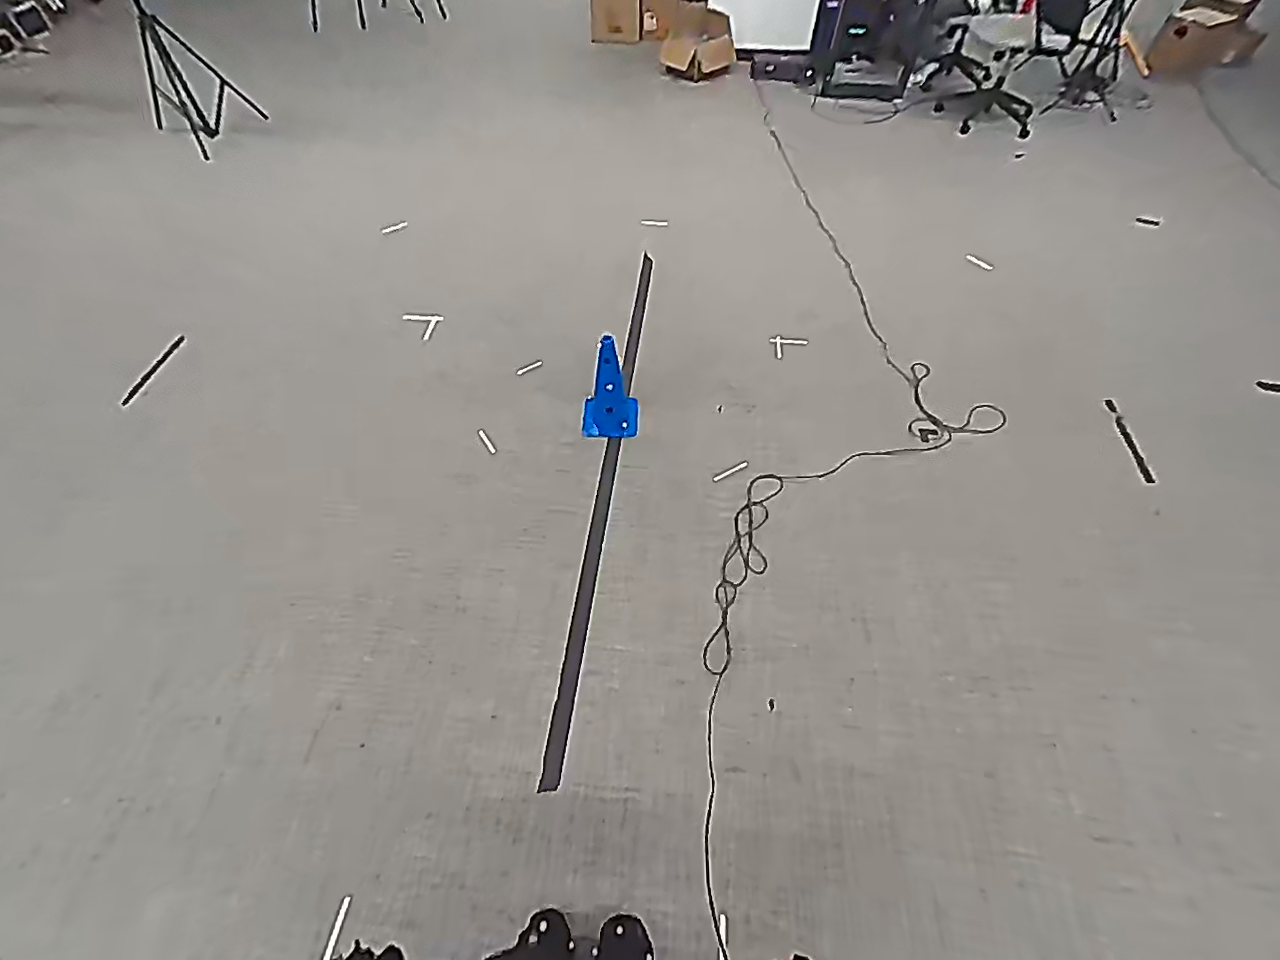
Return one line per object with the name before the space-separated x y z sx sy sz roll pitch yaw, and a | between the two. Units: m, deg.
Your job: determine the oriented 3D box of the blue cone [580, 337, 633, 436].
blue cone | -0.120 -0.331 1.861 0.192 0.380 0.193 2 53 2
